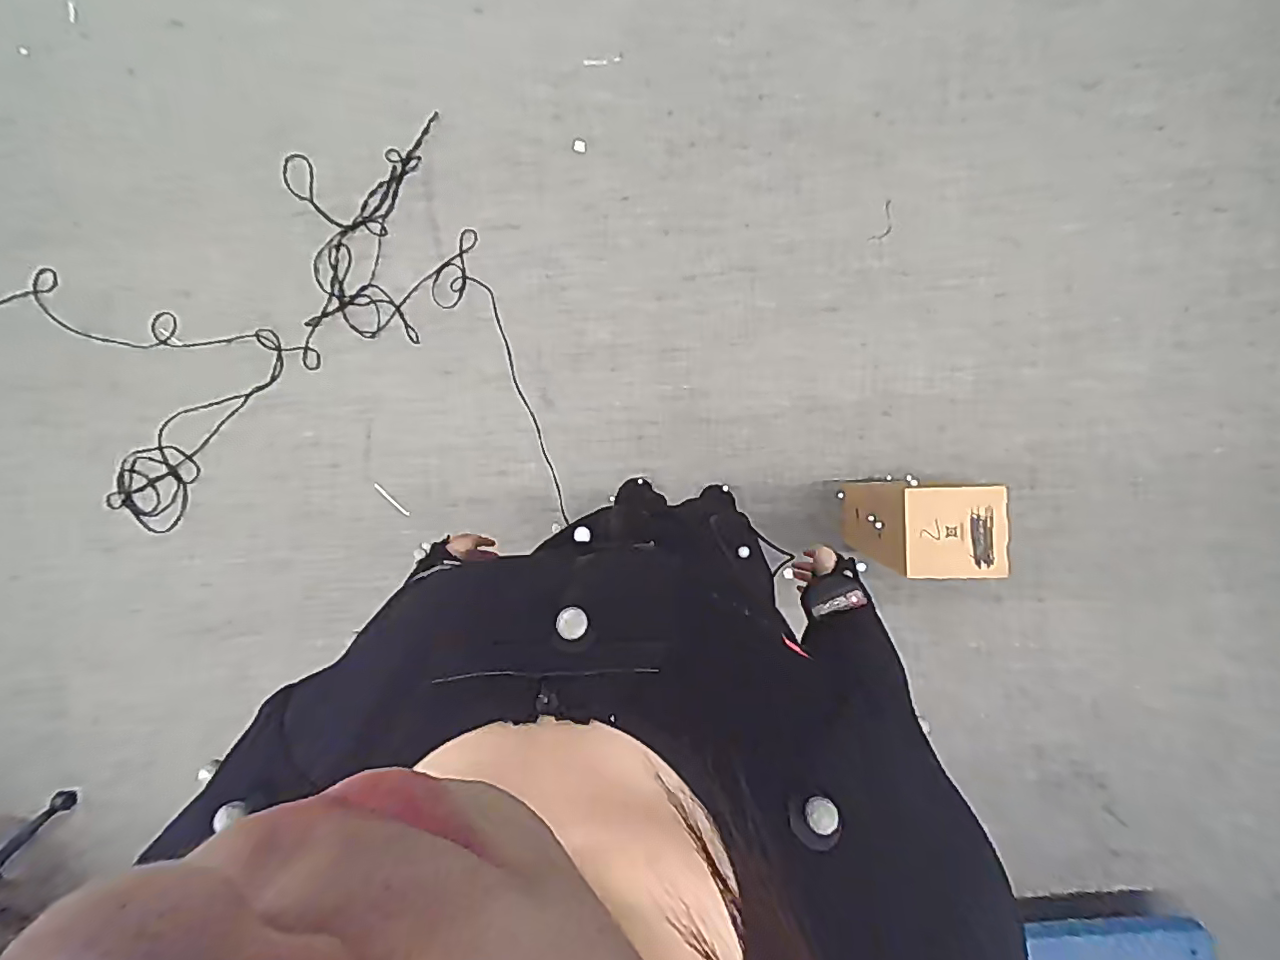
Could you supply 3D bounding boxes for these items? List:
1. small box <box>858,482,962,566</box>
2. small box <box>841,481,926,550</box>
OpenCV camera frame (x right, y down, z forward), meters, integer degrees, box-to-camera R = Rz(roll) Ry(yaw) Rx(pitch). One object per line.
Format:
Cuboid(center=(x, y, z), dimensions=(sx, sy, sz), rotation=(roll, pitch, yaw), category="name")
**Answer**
Cuboid(center=(0.595, 0.092, 1.210), dimensions=(0.168, 0.176, 0.179), rotation=(-1, 91, 7), category="small box")
Cuboid(center=(0.618, 0.087, 1.373), dimensions=(0.179, 0.176, 0.168), rotation=(-2, 91, 5), category="small box")
